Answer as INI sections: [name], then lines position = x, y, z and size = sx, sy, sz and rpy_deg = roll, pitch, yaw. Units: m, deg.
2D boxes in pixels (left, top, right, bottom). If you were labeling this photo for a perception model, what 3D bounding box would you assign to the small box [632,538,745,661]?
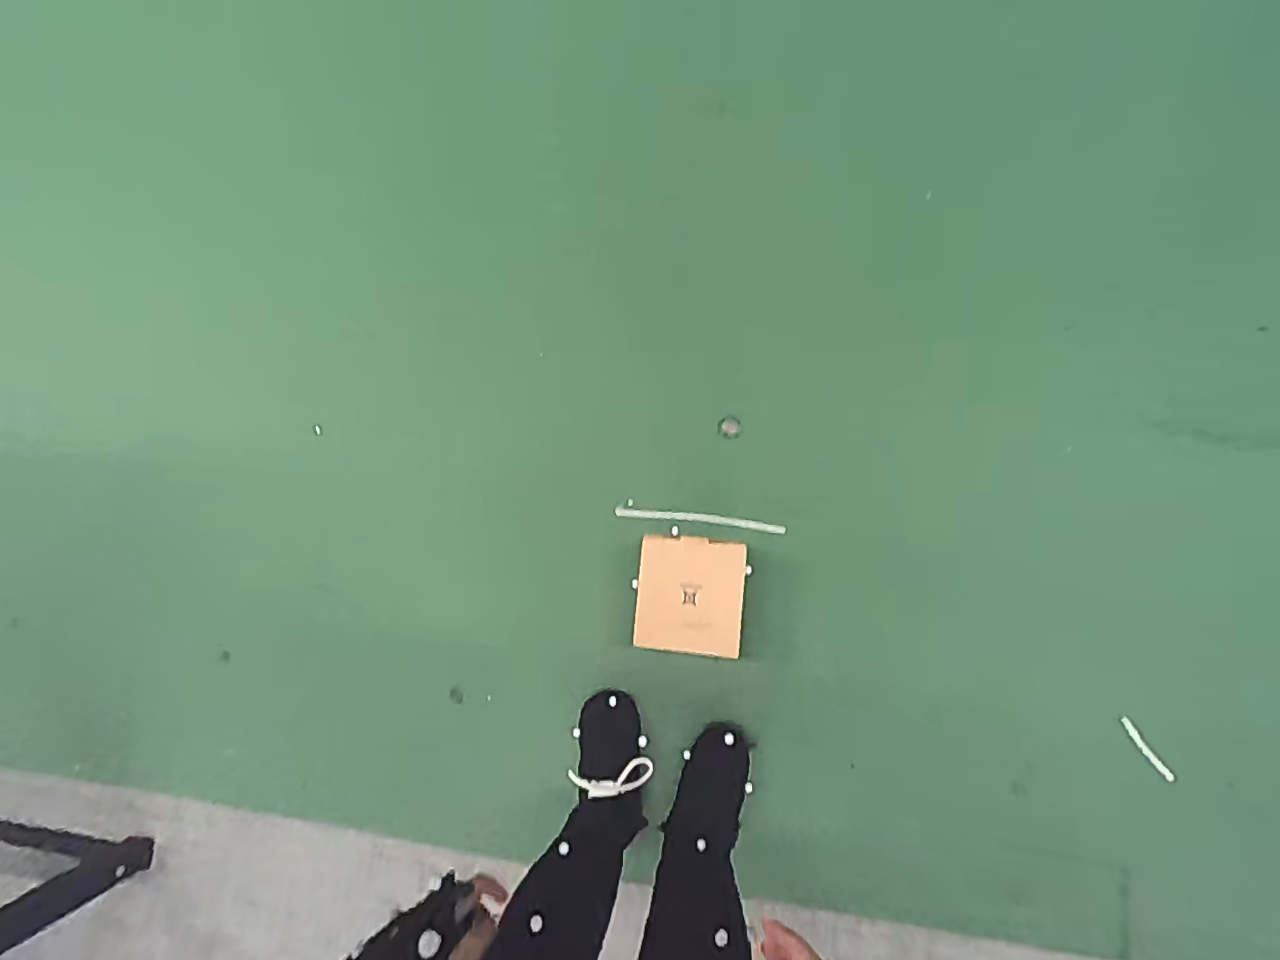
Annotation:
[small box]
position = 0.083, 0.192, 0.920
size = 0.168, 0.176, 0.179
rpy_deg = 5, 86, 7
